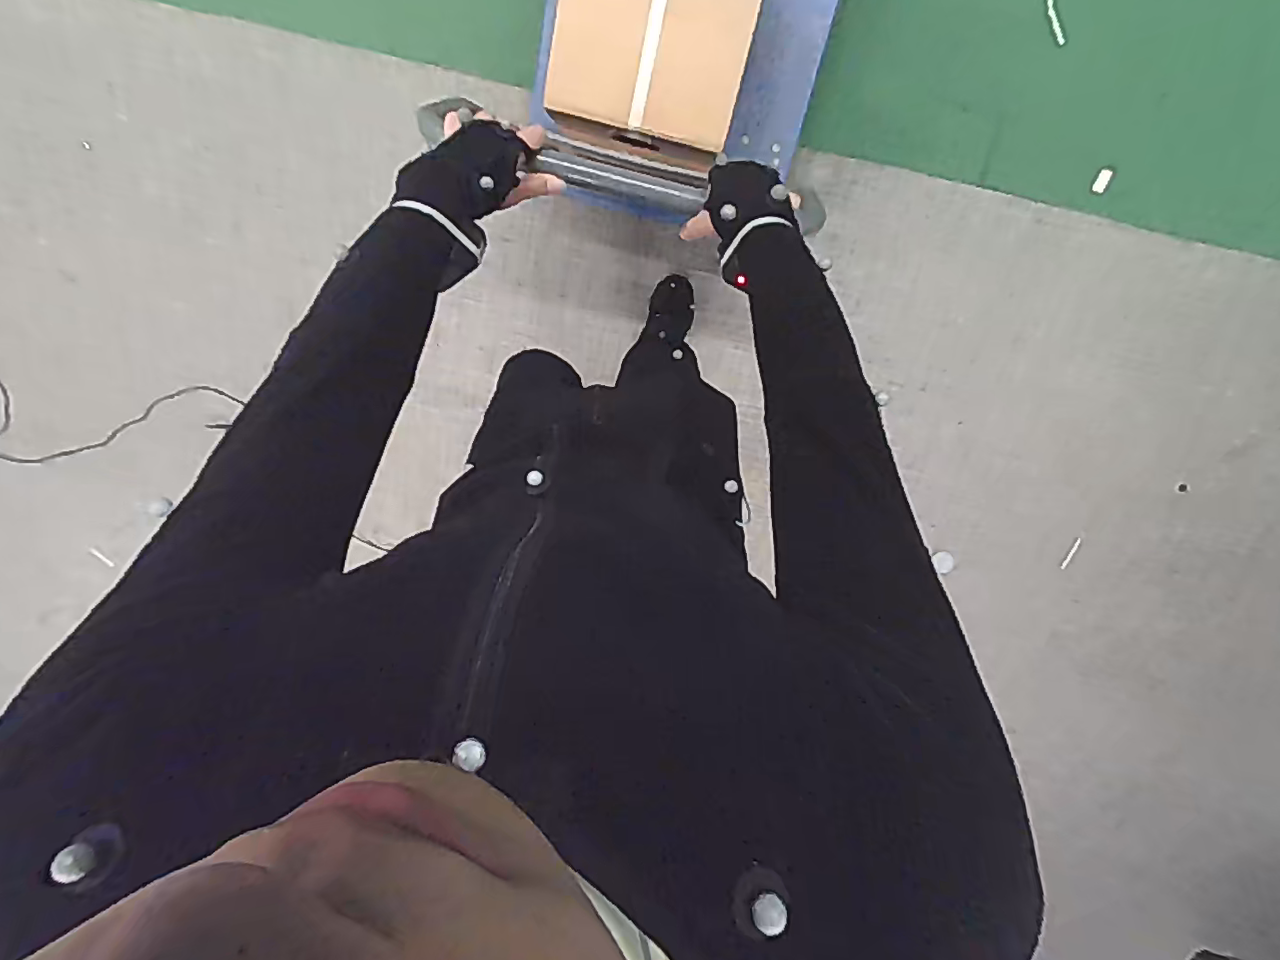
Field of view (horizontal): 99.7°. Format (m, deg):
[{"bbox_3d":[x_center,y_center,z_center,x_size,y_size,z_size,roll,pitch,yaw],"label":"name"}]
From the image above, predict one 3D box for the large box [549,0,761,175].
[{"bbox_3d":[0.045,-0.827,0.979,0.320,0.320,0.408,13,111,-2],"label":"large box"}]
